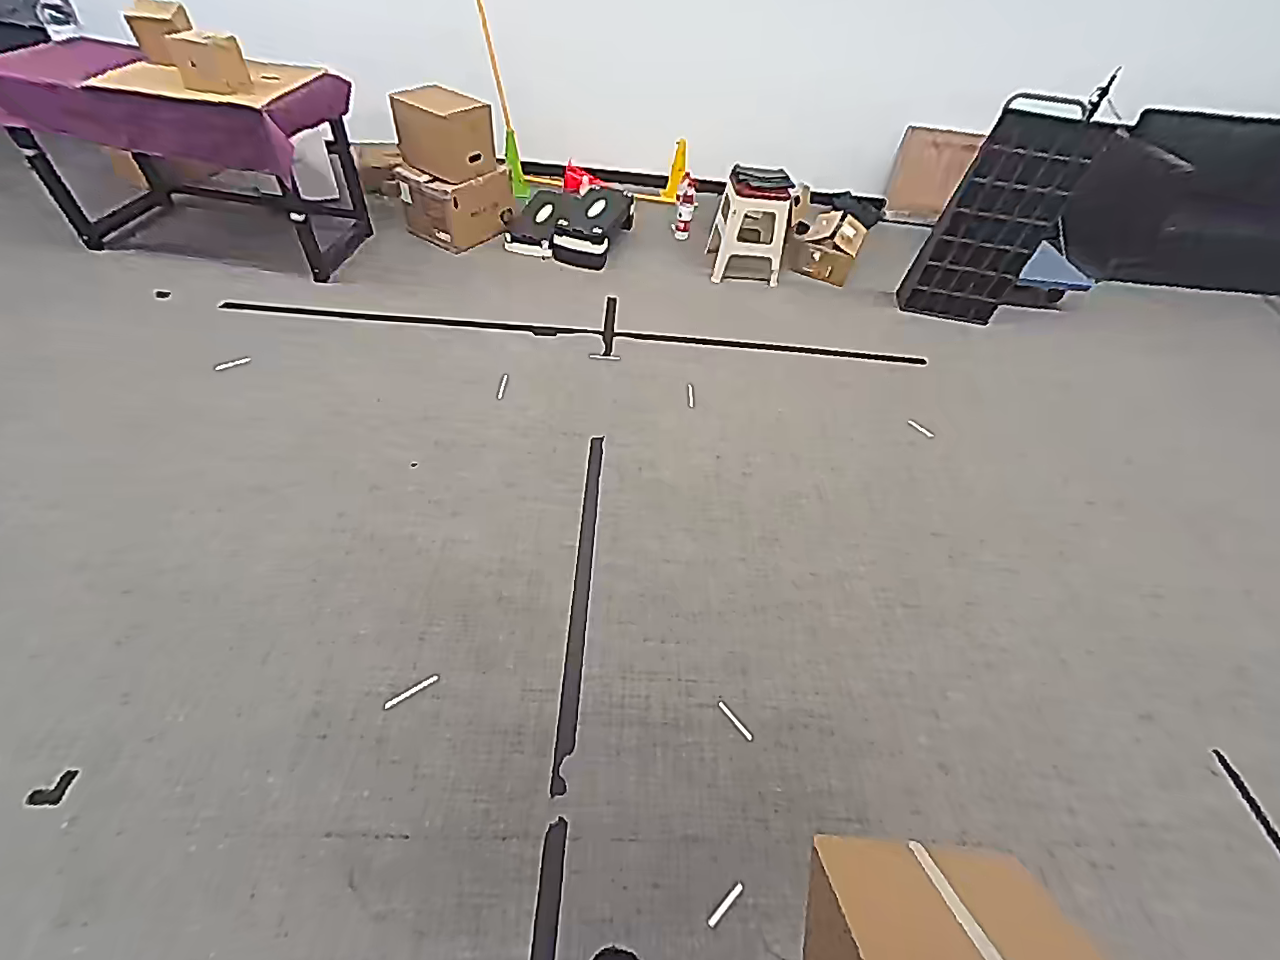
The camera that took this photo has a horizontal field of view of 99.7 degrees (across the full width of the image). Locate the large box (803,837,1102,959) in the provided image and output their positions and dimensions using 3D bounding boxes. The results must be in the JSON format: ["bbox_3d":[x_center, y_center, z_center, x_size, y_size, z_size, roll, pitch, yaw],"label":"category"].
[{"bbox_3d":[0.403,0.725,0.645,0.320,0.408,0.320,5,91,2],"label":"large box"}]
